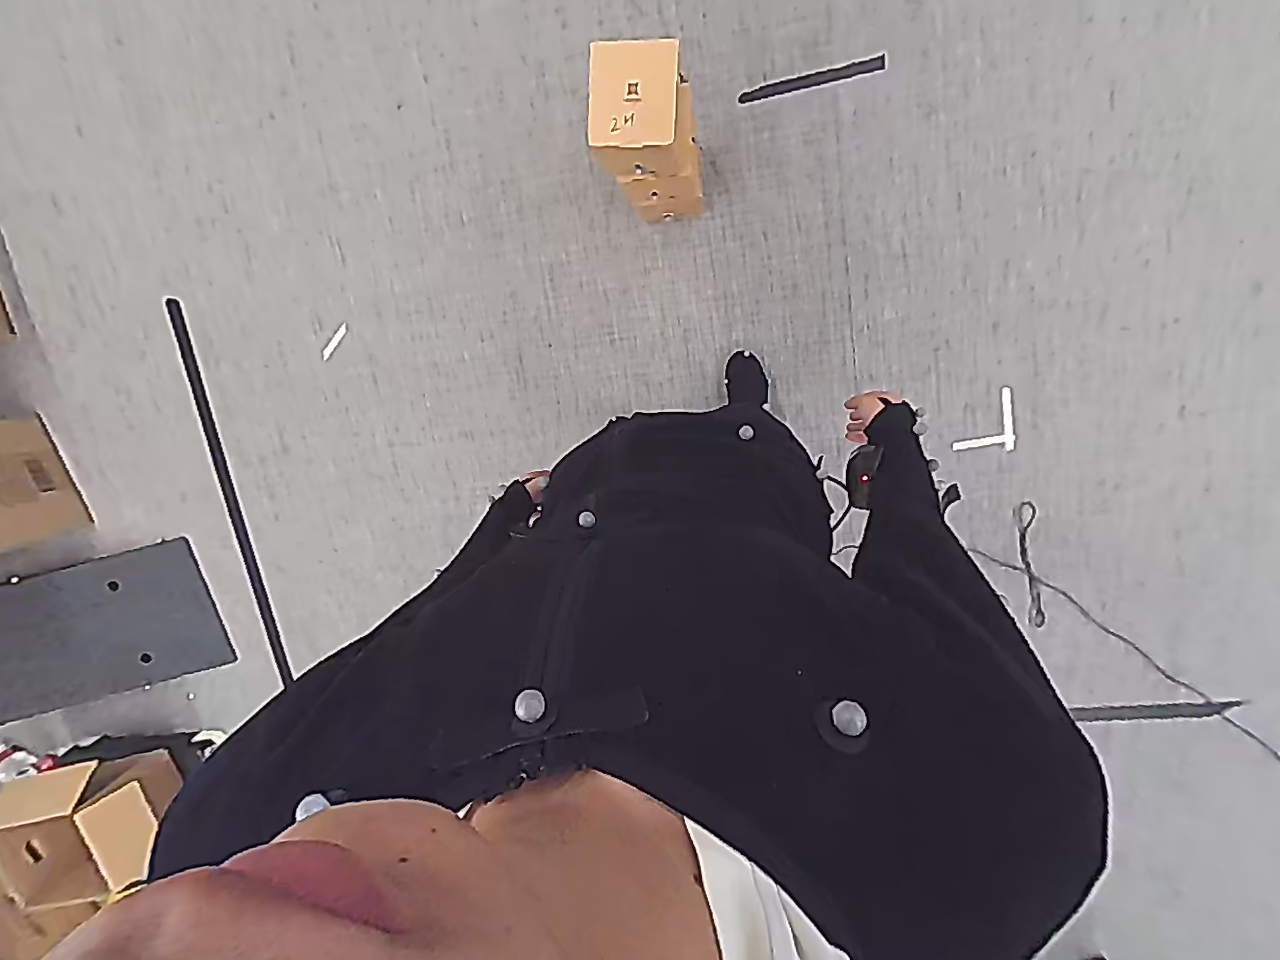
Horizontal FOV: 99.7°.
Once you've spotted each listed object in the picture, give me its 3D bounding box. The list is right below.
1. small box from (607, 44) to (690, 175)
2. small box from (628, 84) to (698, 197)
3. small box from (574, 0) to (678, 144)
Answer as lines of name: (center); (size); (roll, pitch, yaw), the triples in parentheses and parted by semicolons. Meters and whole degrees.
small box: (0.020, -0.778, 1.154); (0.168, 0.176, 0.179); (-1, 103, 9)
small box: (0.052, -0.811, 1.308); (0.168, 0.176, 0.179); (-4, 102, 9)
small box: (-0.020, -0.748, 0.996); (0.168, 0.176, 0.179); (4, 104, 7)
